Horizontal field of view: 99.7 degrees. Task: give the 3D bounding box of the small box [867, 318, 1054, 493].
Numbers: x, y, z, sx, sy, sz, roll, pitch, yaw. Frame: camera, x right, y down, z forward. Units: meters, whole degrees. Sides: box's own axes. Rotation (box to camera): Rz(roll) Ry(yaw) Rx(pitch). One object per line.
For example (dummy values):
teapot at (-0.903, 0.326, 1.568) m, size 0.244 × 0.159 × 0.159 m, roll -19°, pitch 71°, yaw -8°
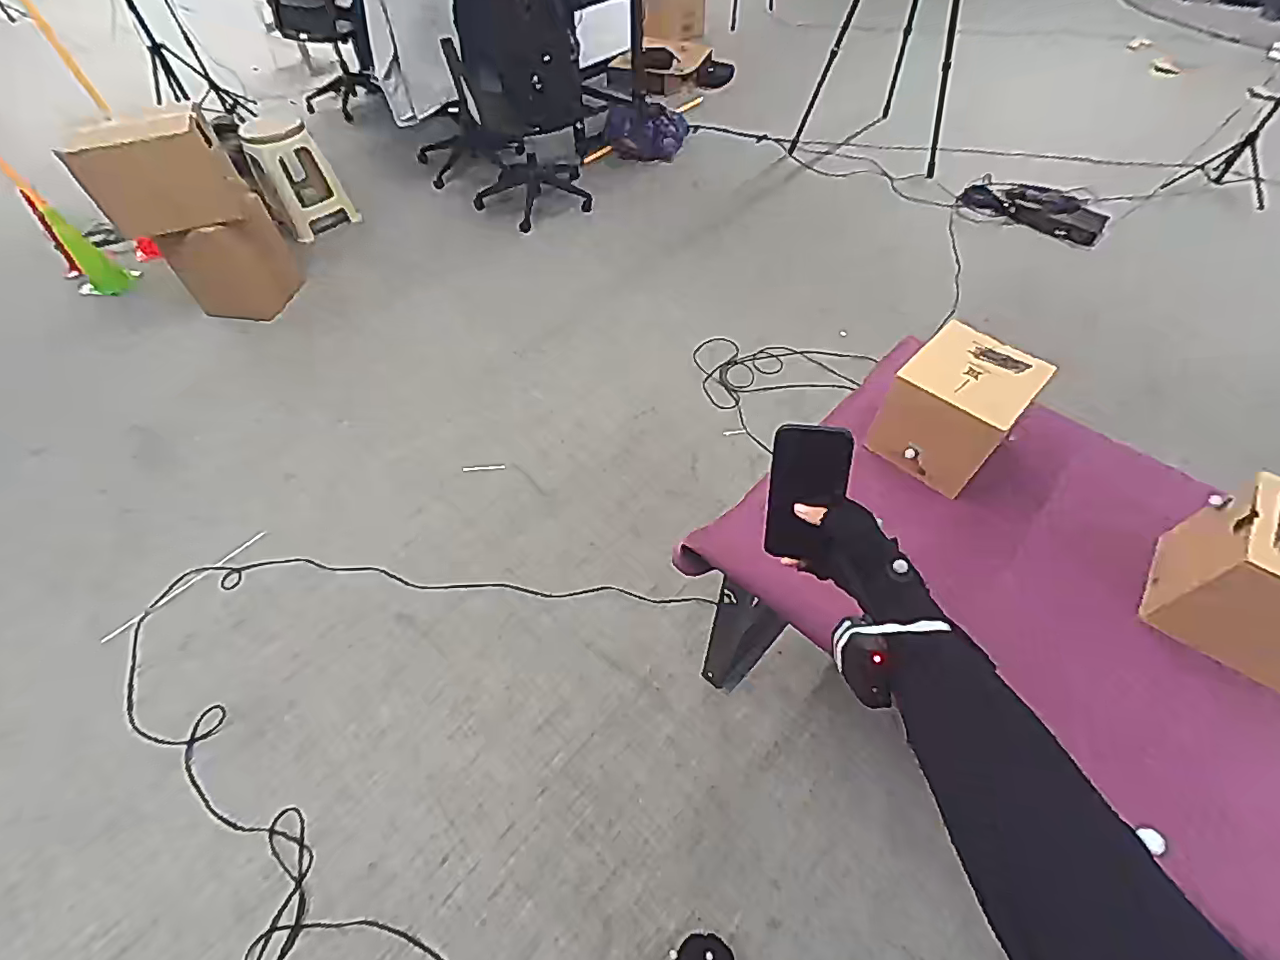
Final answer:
small box at (0.491, -0.116, 0.856) m, size 0.179 × 0.176 × 0.168 m, roll -40°, pitch 62°, yaw -23°
